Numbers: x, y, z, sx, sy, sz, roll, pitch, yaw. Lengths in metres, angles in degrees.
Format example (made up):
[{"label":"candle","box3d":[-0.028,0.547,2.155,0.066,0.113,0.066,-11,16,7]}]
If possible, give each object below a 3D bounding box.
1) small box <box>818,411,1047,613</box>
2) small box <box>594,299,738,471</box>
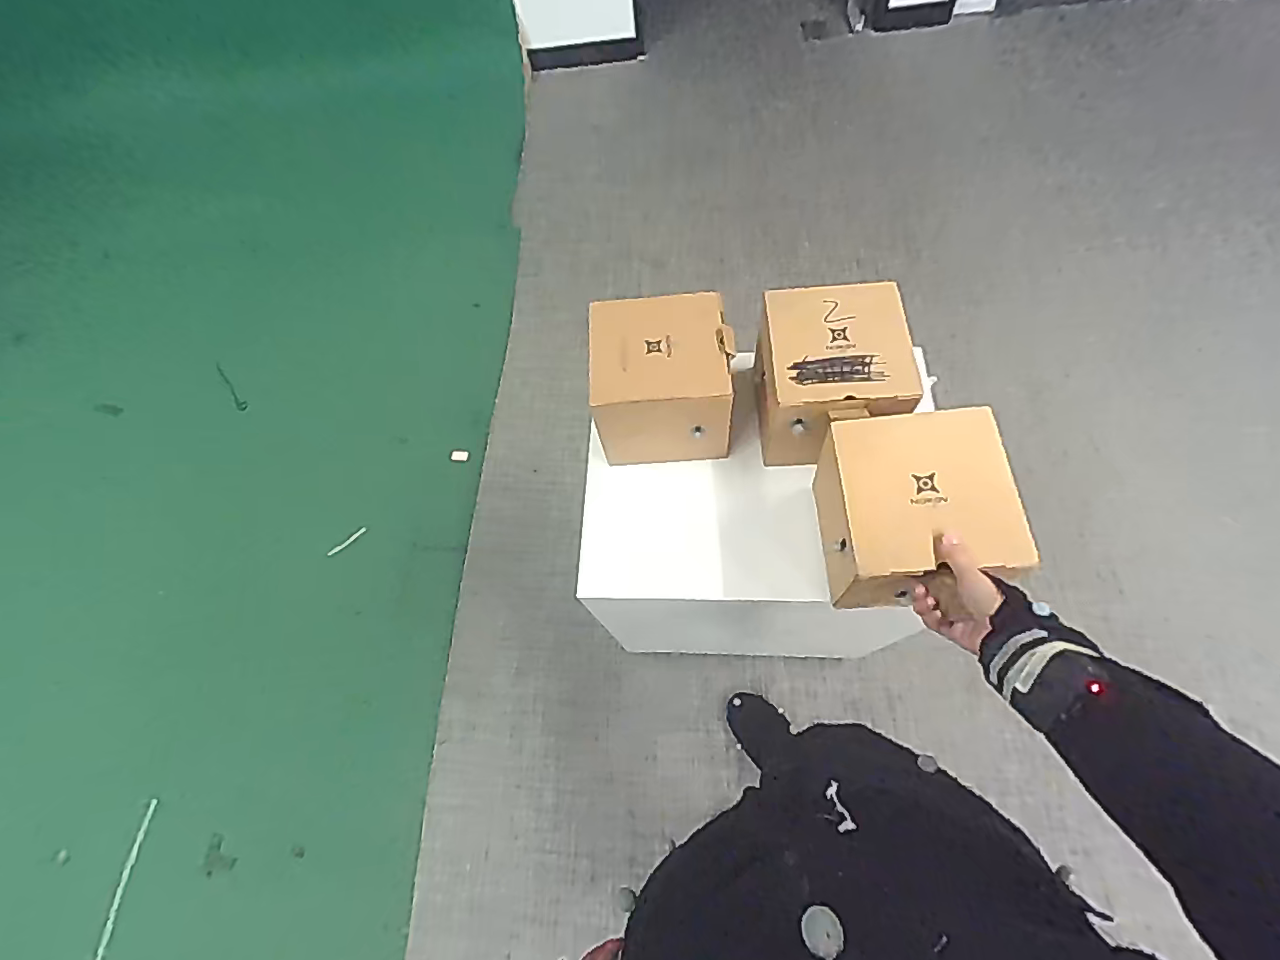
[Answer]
[{"label":"small box","box3d":[0.309,0.045,0.619,0.168,0.176,0.179,-6,64,8]},{"label":"small box","box3d":[0.035,-0.124,0.752,0.179,0.176,0.168,-5,63,4]}]
